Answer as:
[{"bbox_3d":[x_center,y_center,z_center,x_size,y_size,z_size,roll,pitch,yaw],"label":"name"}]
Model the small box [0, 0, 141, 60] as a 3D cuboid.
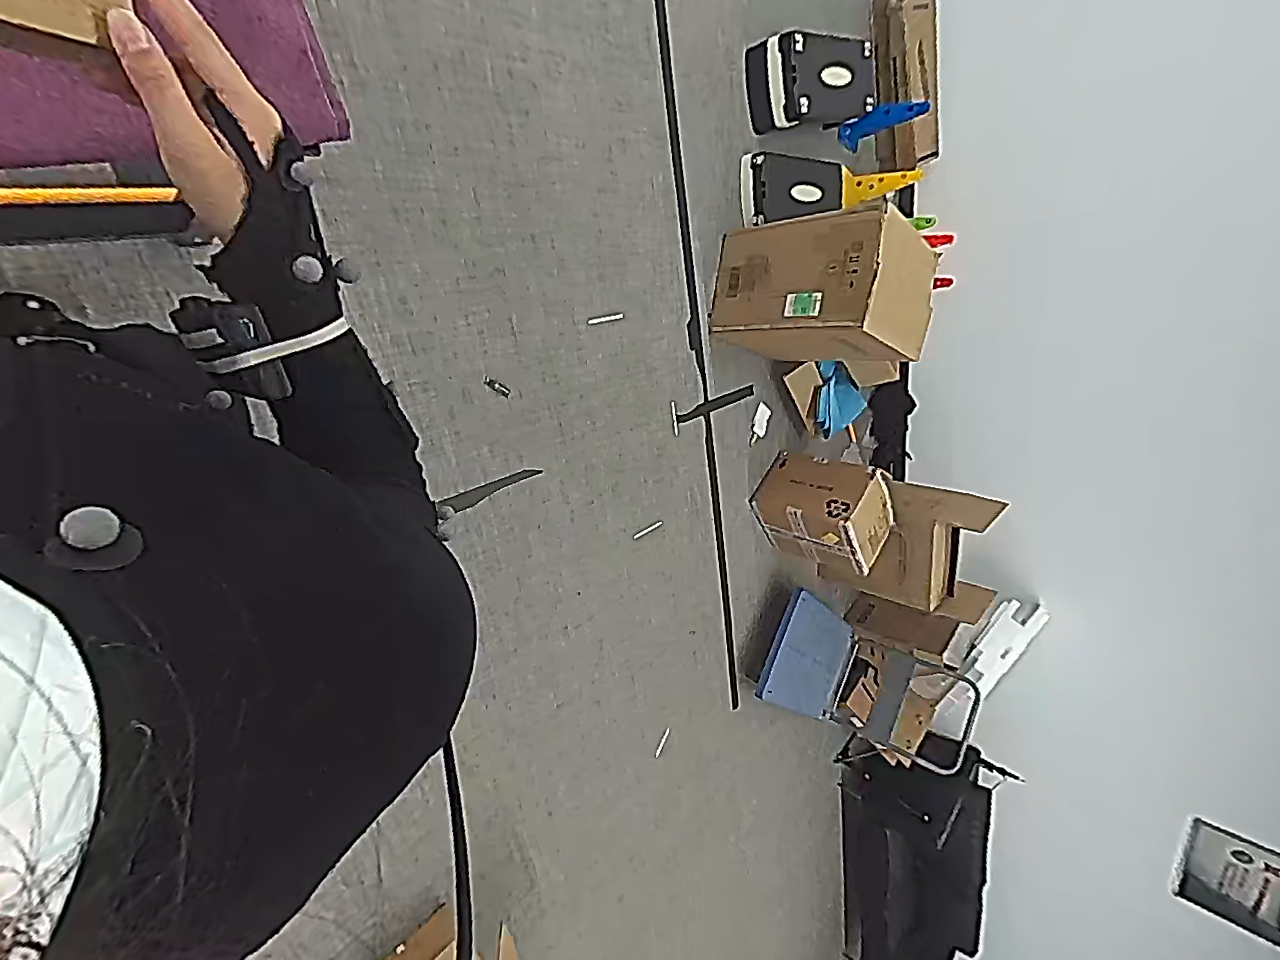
[{"bbox_3d":[-0.343,-0.297,0.219,0.179,0.176,0.168,-15,125,-46],"label":"small box"}]
